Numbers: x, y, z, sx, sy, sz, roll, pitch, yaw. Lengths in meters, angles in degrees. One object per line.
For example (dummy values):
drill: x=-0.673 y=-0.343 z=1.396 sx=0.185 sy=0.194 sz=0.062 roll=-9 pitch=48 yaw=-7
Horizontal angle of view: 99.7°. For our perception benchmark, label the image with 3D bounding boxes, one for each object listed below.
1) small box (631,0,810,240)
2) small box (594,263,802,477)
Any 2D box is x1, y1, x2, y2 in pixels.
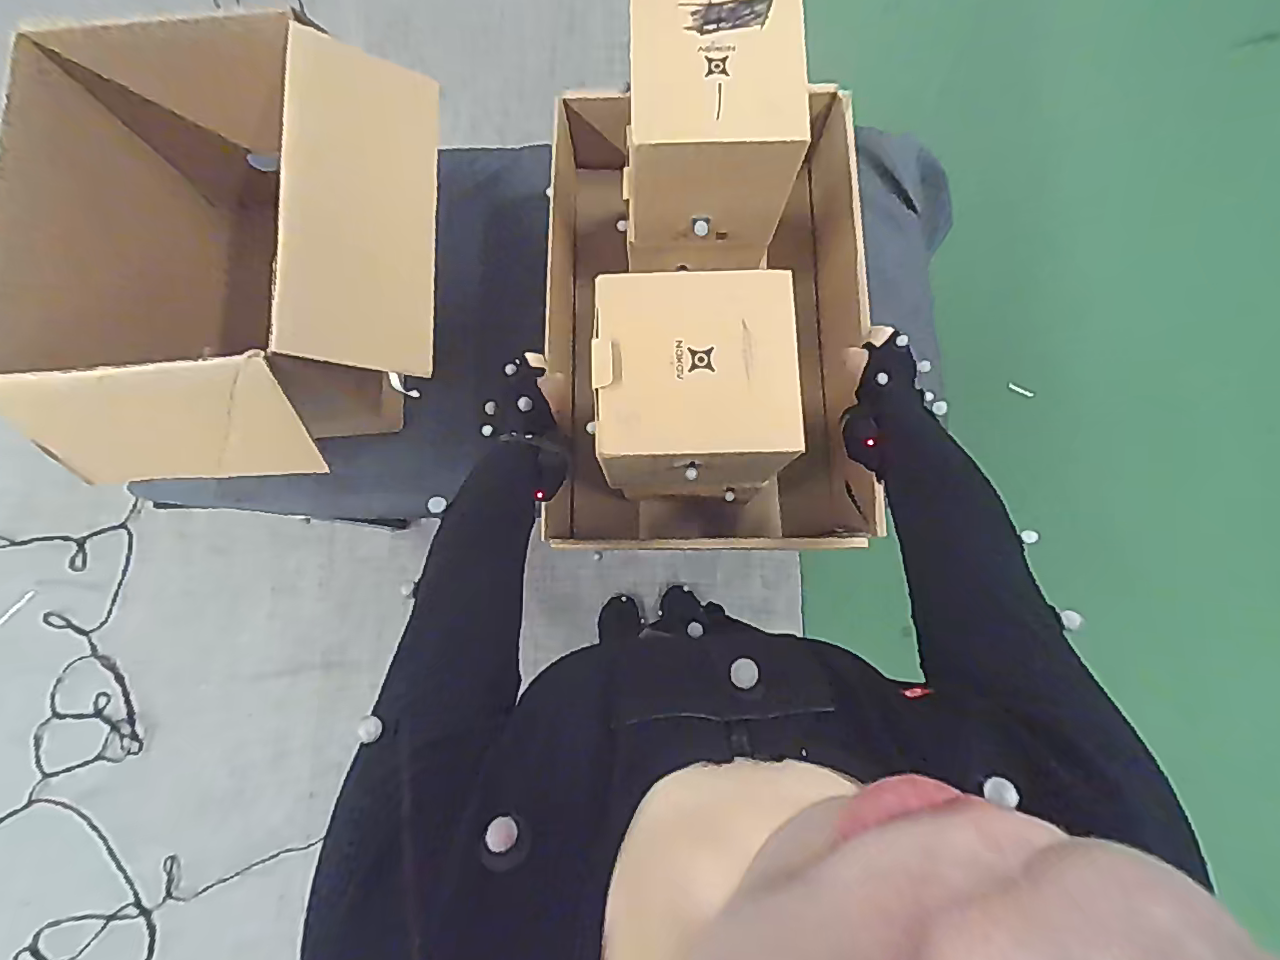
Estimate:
small box: x=0.074 y=-0.387 z=0.583 sx=0.168 sy=0.176 sz=0.179 roll=-1 pitch=83 yaw=0
small box: x=0.049 y=-0.097 z=0.546 sx=0.179 sy=0.176 sz=0.168 roll=-2 pitch=82 yaw=-1
